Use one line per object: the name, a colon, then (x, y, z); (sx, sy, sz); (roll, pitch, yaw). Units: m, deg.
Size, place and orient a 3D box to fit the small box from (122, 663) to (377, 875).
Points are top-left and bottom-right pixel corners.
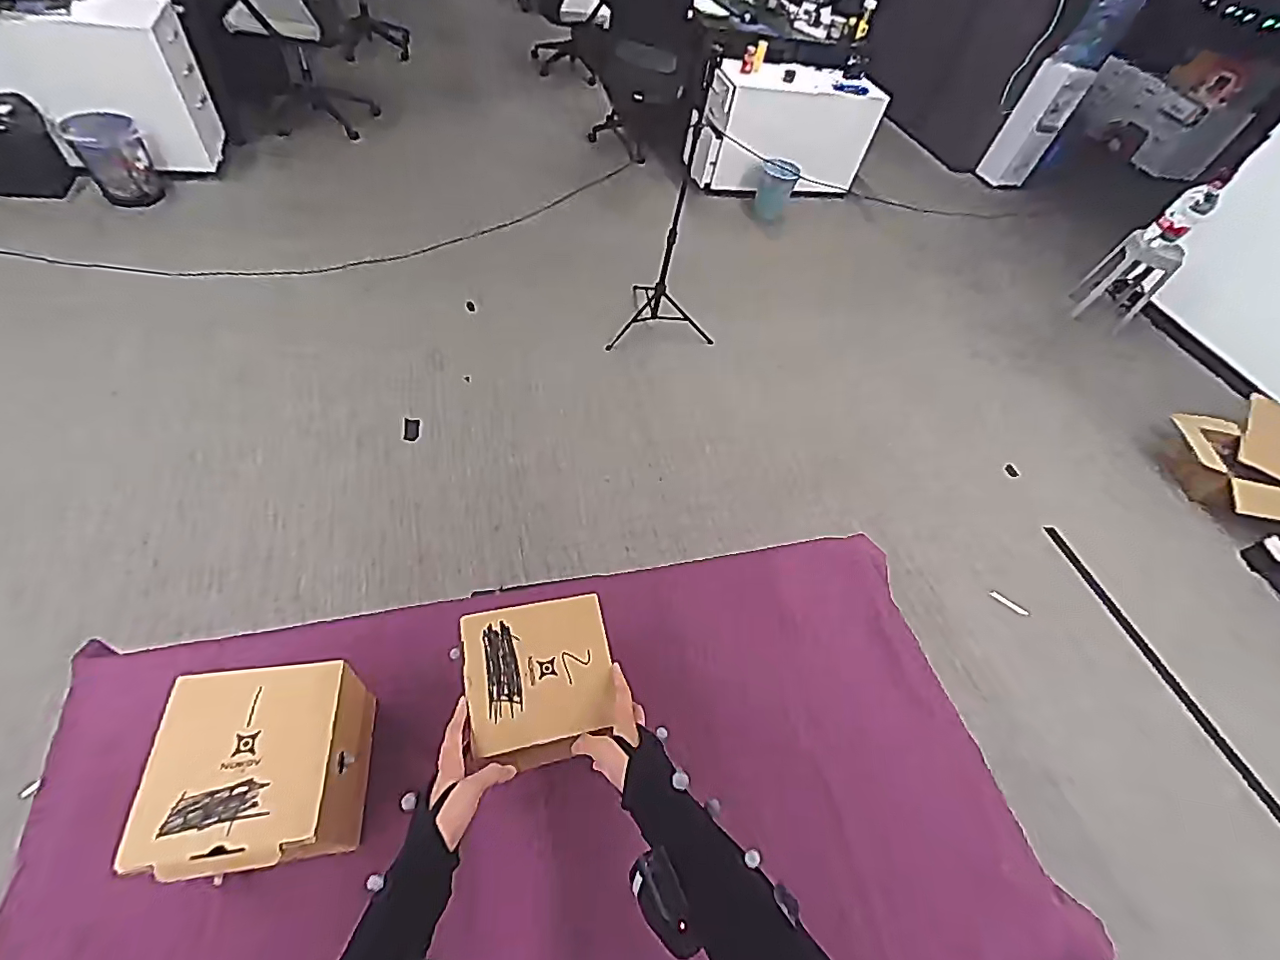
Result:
small box: (-0.409, 0.325, 0.610); (0.168, 0.176, 0.179); (-2, 54, -13)
